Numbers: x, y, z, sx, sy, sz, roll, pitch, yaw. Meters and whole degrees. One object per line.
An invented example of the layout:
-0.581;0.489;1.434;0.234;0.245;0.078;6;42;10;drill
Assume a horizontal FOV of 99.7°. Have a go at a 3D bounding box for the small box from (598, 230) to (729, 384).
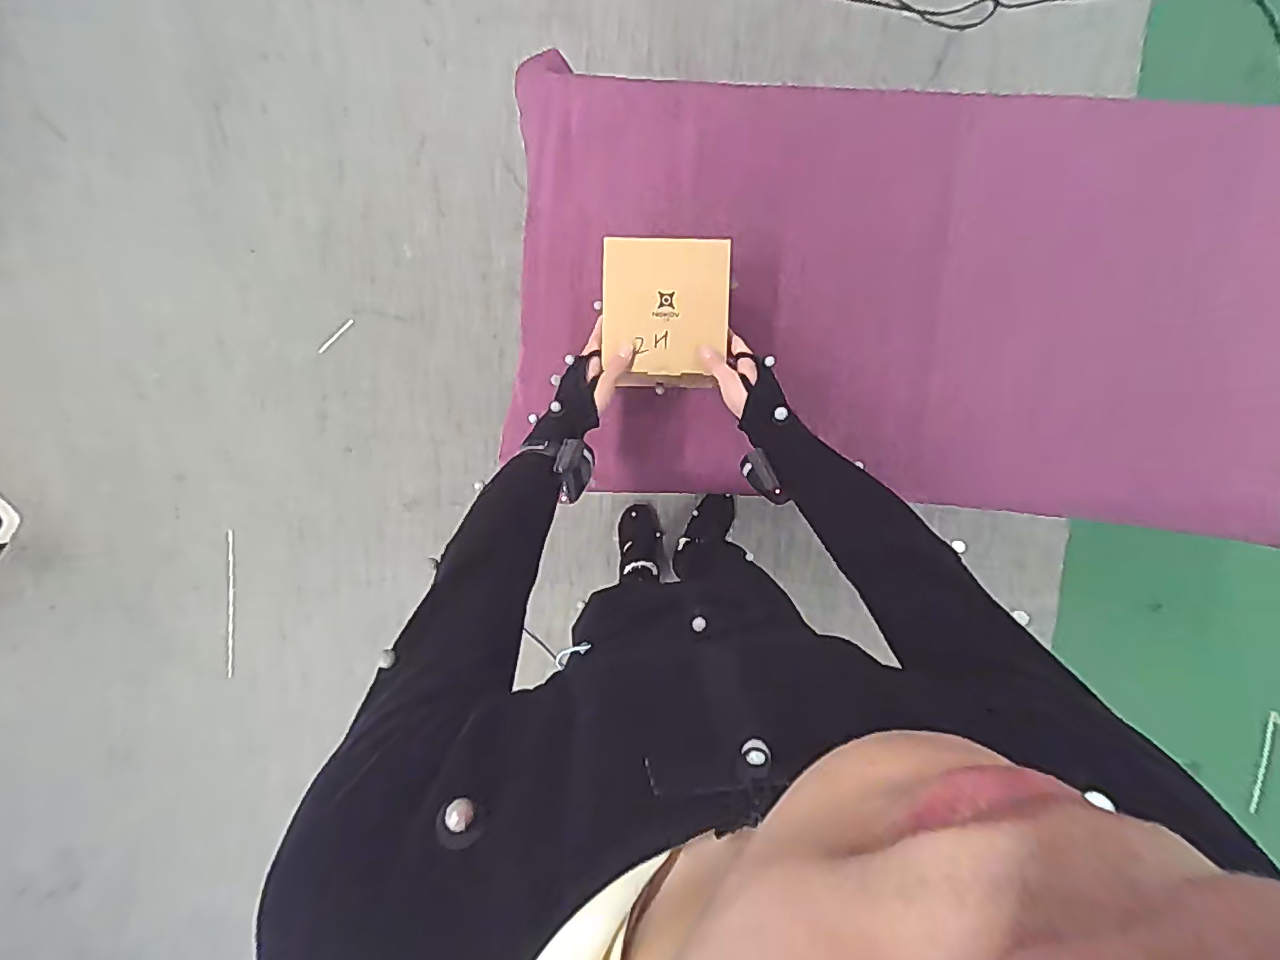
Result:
0.031;-0.237;0.776;0.168;0.176;0.179;2;95;2;small box
